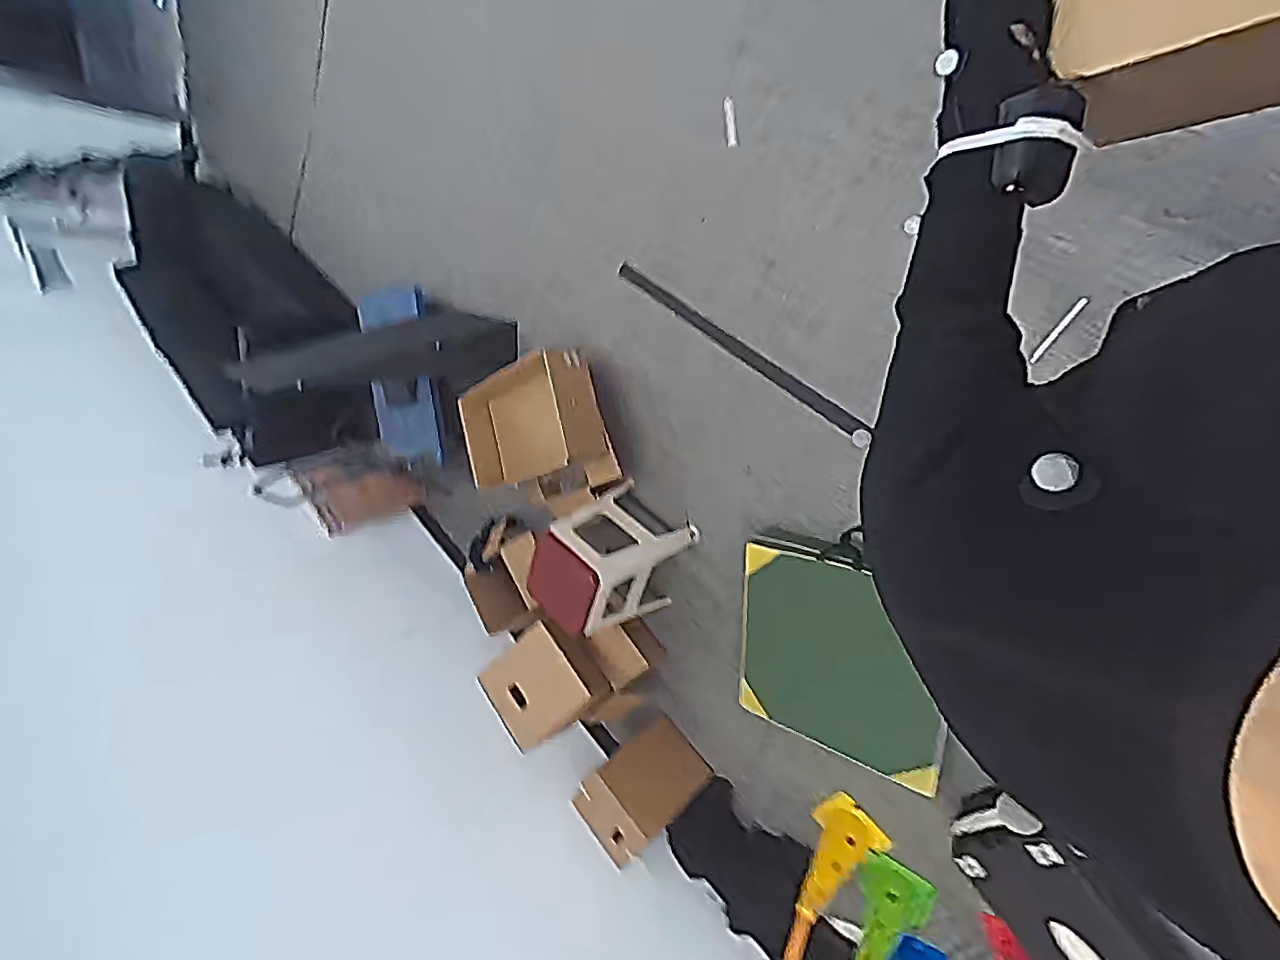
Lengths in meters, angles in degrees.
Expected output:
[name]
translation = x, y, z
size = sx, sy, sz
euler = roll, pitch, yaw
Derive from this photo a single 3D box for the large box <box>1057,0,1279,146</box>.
[large box]
translation = 0.544, -0.459, 0.337
size = 0.408, 0.320, 0.320
euler = 10, 113, 43
